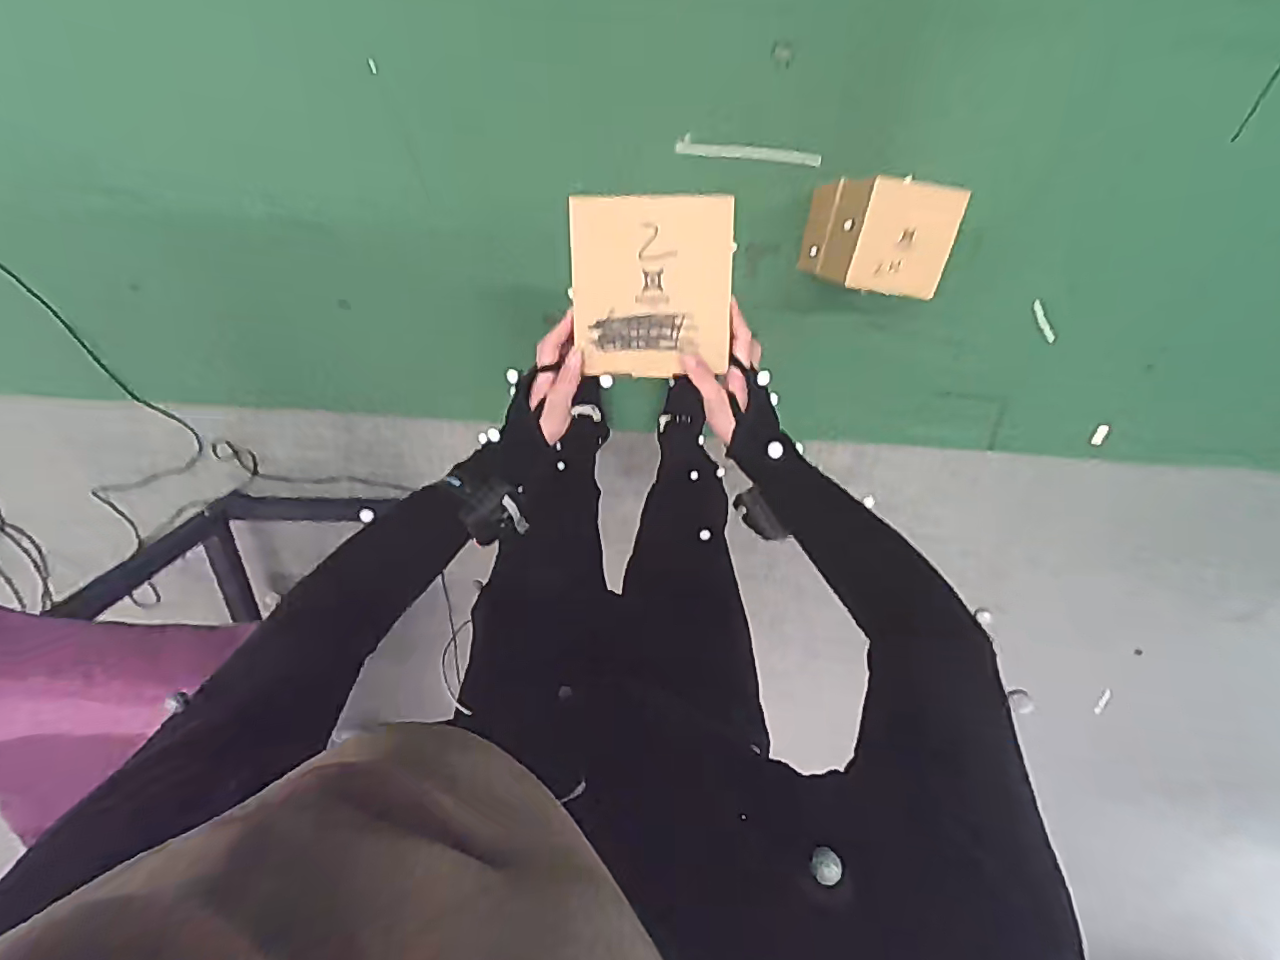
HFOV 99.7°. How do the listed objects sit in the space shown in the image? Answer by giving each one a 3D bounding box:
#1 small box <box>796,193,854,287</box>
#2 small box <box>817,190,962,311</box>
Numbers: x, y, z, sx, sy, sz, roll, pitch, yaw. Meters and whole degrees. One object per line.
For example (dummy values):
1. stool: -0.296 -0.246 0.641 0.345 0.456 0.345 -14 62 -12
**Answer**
1. small box: 0.448 -0.503 1.157 0.168 0.176 0.179 6 115 -3
2. small box: 0.451 -0.428 1.011 0.168 0.176 0.179 8 116 -4
